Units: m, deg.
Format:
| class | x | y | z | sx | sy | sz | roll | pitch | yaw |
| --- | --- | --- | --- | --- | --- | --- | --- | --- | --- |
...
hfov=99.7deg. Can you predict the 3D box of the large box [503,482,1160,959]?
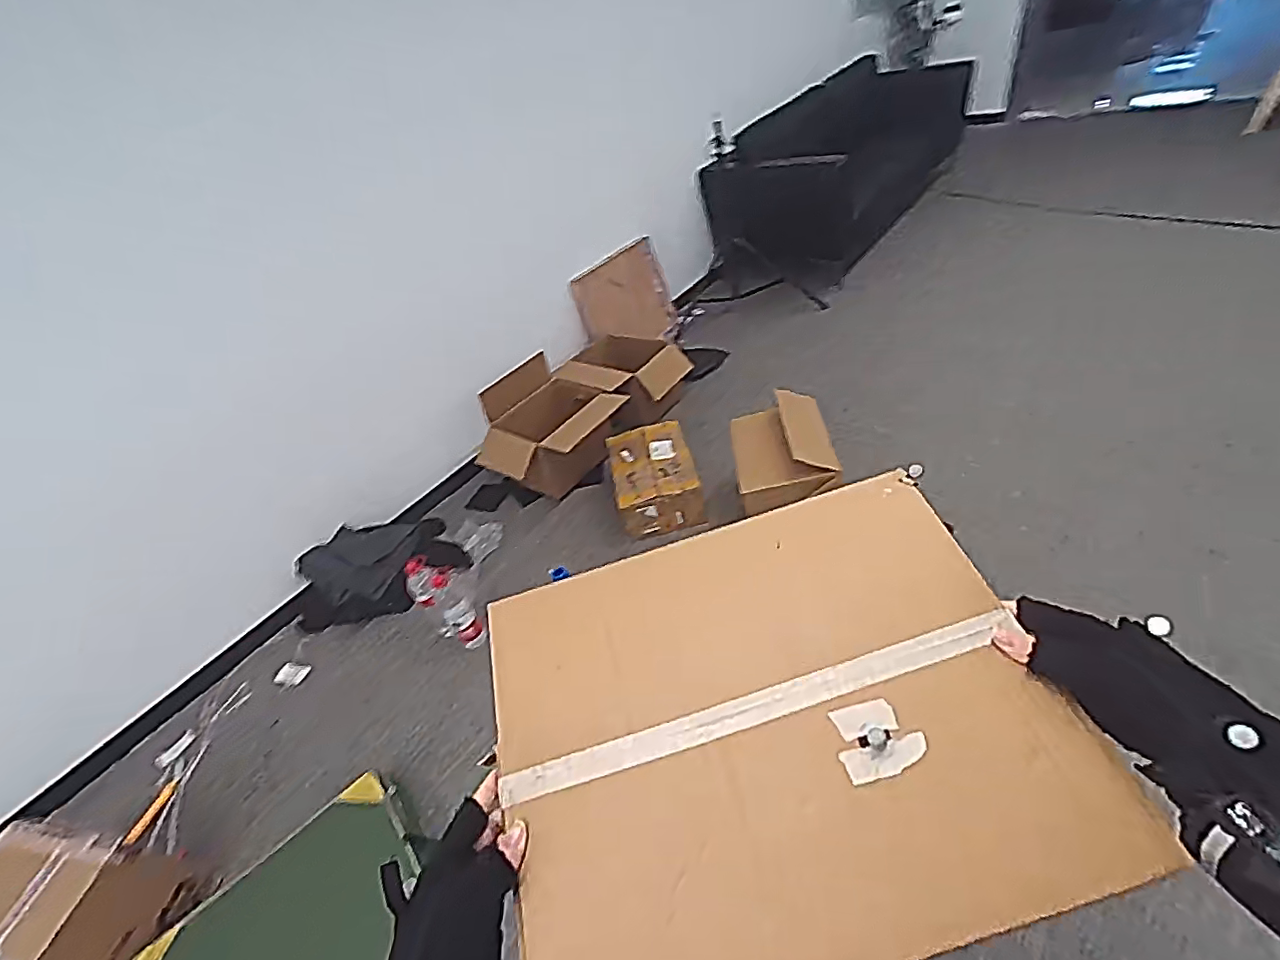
| class | x | y | z | sx | sy | sz | roll | pitch | yaw |
| --- | --- | --- | --- | --- | --- | --- | --- | --- | --- |
| large box | 0.123 | 0.265 | 0.536 | 0.408 | 0.320 | 0.320 | -18 | 53 | -1 |
